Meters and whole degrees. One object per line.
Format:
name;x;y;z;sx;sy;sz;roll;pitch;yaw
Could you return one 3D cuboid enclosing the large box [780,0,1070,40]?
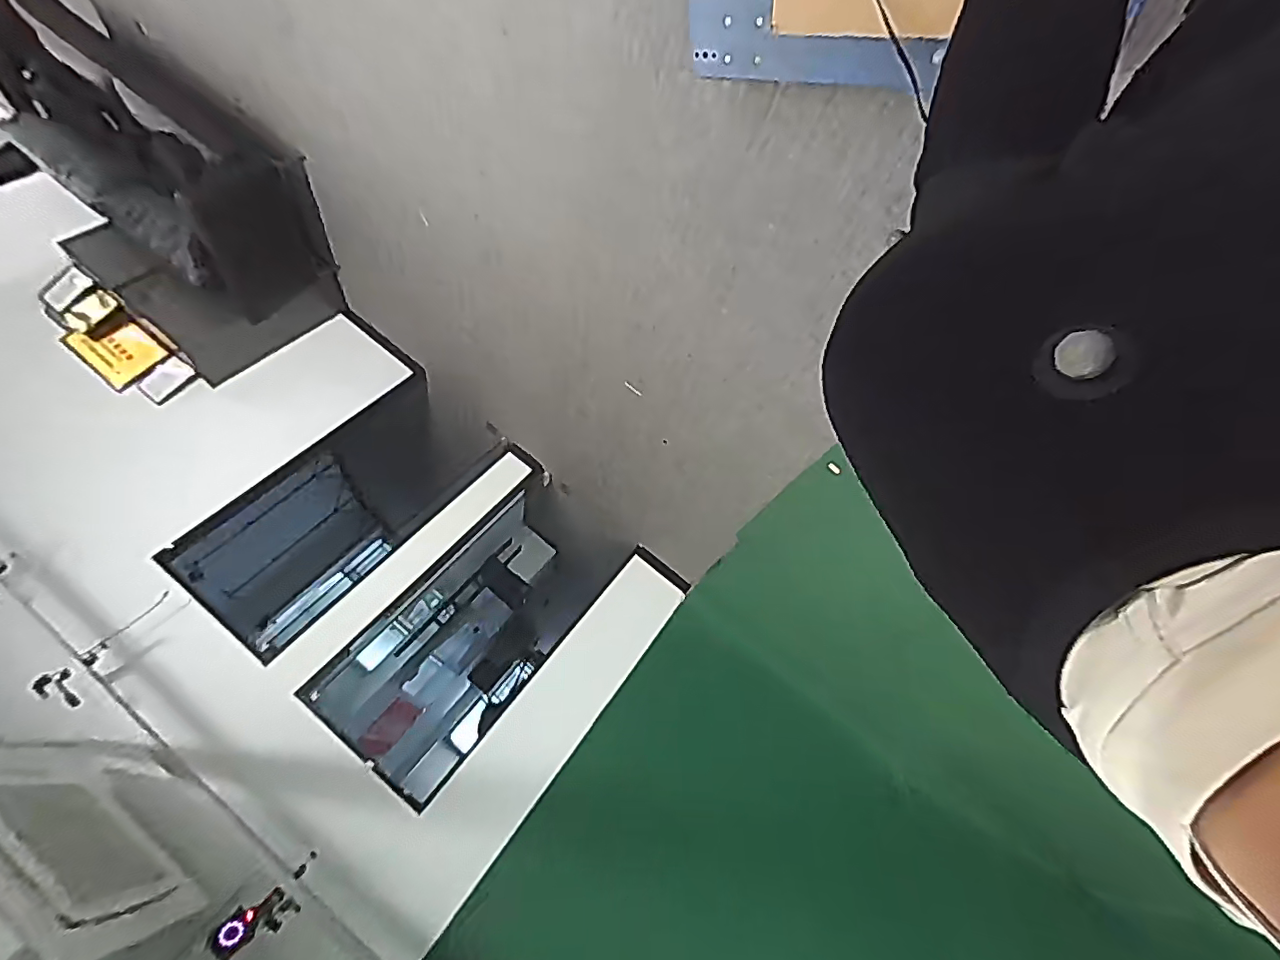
large box;0.469;-0.889;0.800;0.408;0.320;0.320;26;147;28
